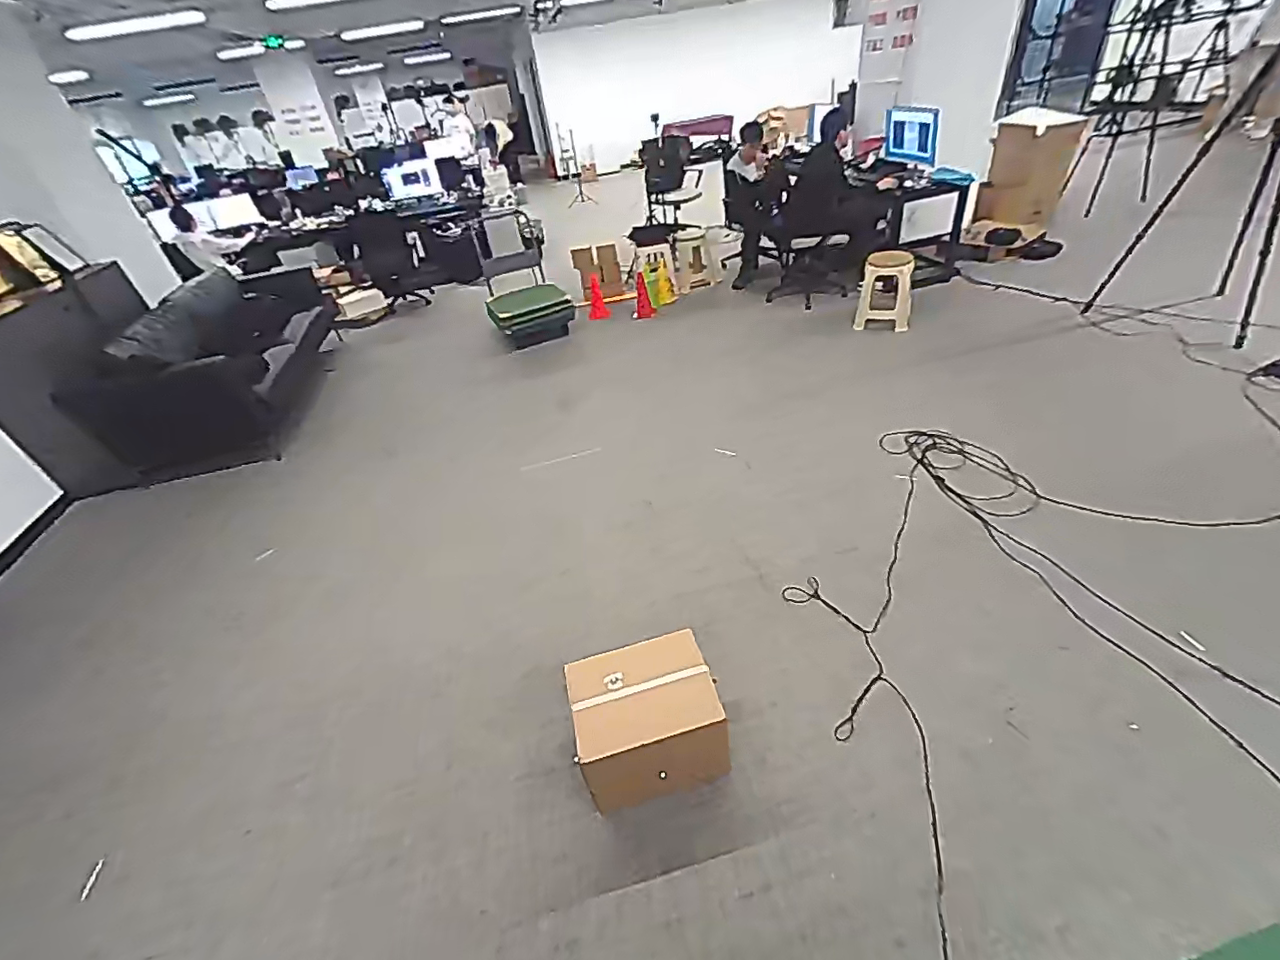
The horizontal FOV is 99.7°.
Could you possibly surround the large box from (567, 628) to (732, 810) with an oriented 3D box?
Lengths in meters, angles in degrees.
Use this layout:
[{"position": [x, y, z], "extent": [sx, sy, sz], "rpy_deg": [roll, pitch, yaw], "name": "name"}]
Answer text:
[{"position": [0.028, 0.716, 1.629], "extent": [0.408, 0.320, 0.320], "rpy_deg": [-16, 36, -6], "name": "large box"}]
